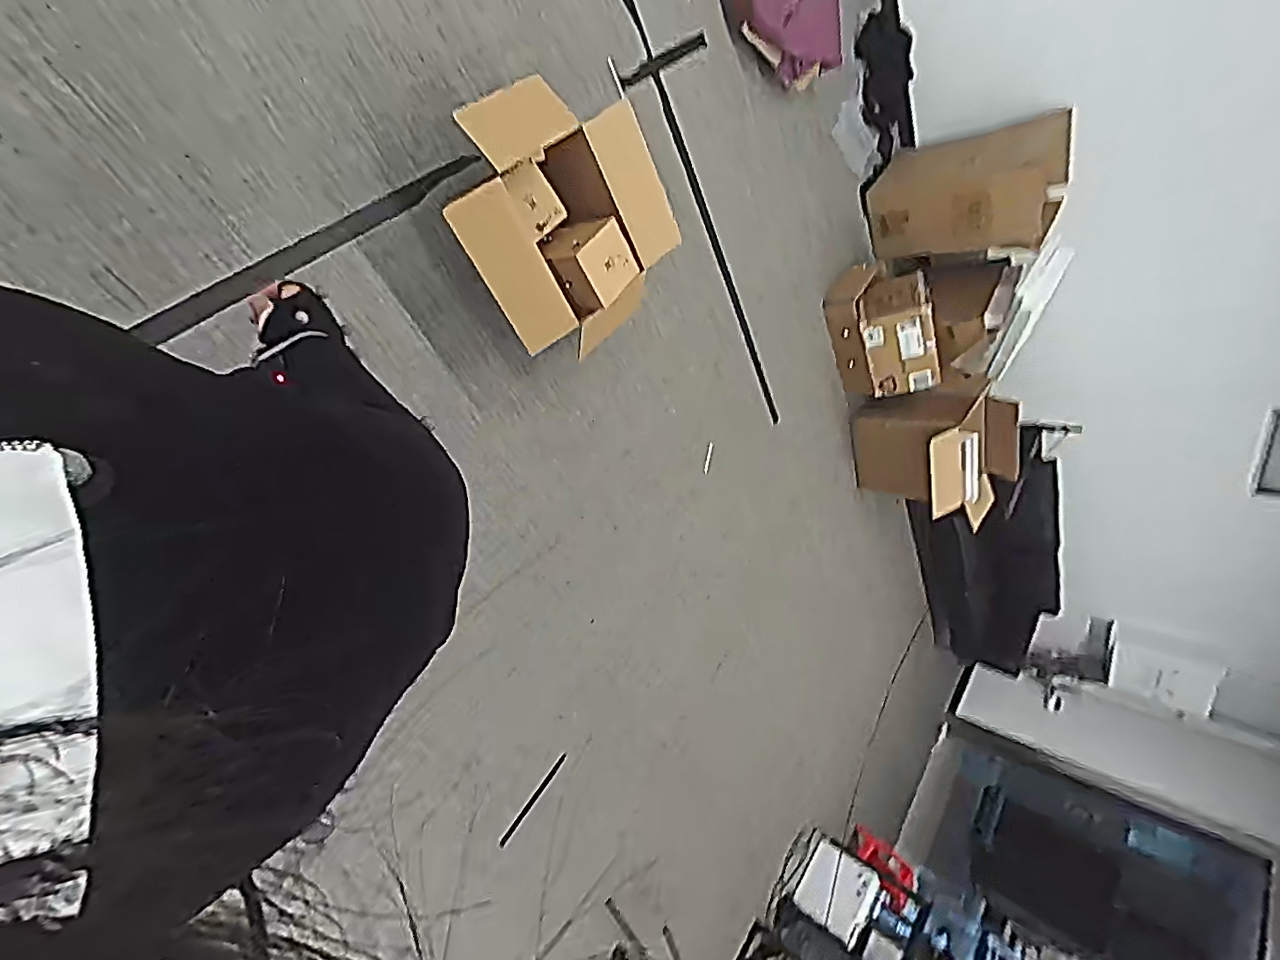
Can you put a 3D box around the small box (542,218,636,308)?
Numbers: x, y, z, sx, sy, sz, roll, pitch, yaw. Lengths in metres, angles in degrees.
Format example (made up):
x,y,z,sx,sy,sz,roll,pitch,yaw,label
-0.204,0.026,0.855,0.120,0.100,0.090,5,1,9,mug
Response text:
x,y,z,sx,sy,sz,roll,pitch,yaw,label
-0.149,-0.597,1.509,0.179,0.176,0.168,-54,134,-22,small box
